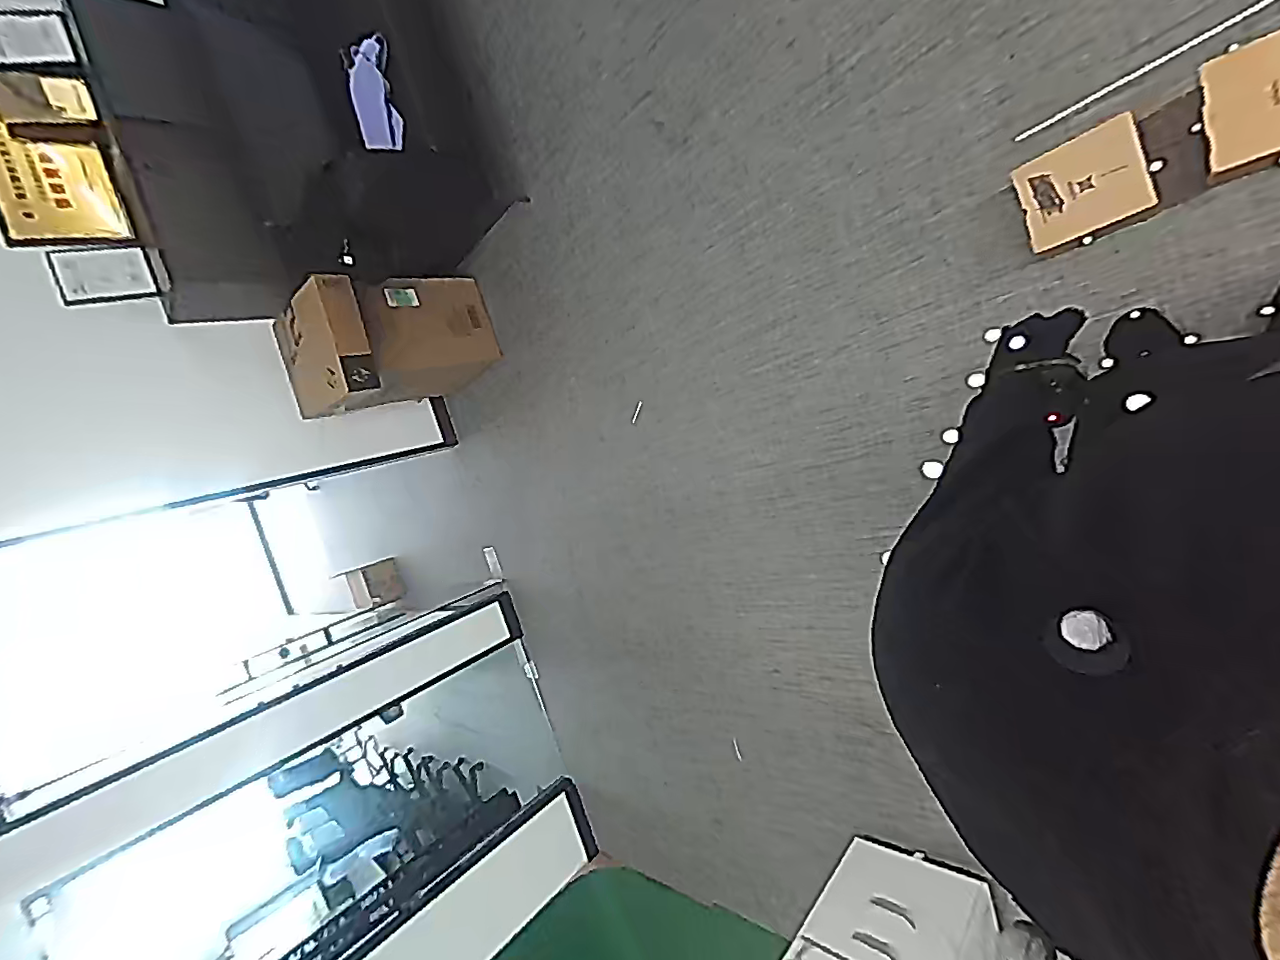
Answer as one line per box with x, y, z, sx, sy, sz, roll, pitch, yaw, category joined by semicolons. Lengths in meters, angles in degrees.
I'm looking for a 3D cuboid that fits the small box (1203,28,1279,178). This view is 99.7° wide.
1.002;-0.595;0.833;0.179;0.176;0.168;-8;99;48;small box

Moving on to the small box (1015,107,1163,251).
0.842;-0.546;1.013;0.179;0.176;0.168;-16;93;47;small box
